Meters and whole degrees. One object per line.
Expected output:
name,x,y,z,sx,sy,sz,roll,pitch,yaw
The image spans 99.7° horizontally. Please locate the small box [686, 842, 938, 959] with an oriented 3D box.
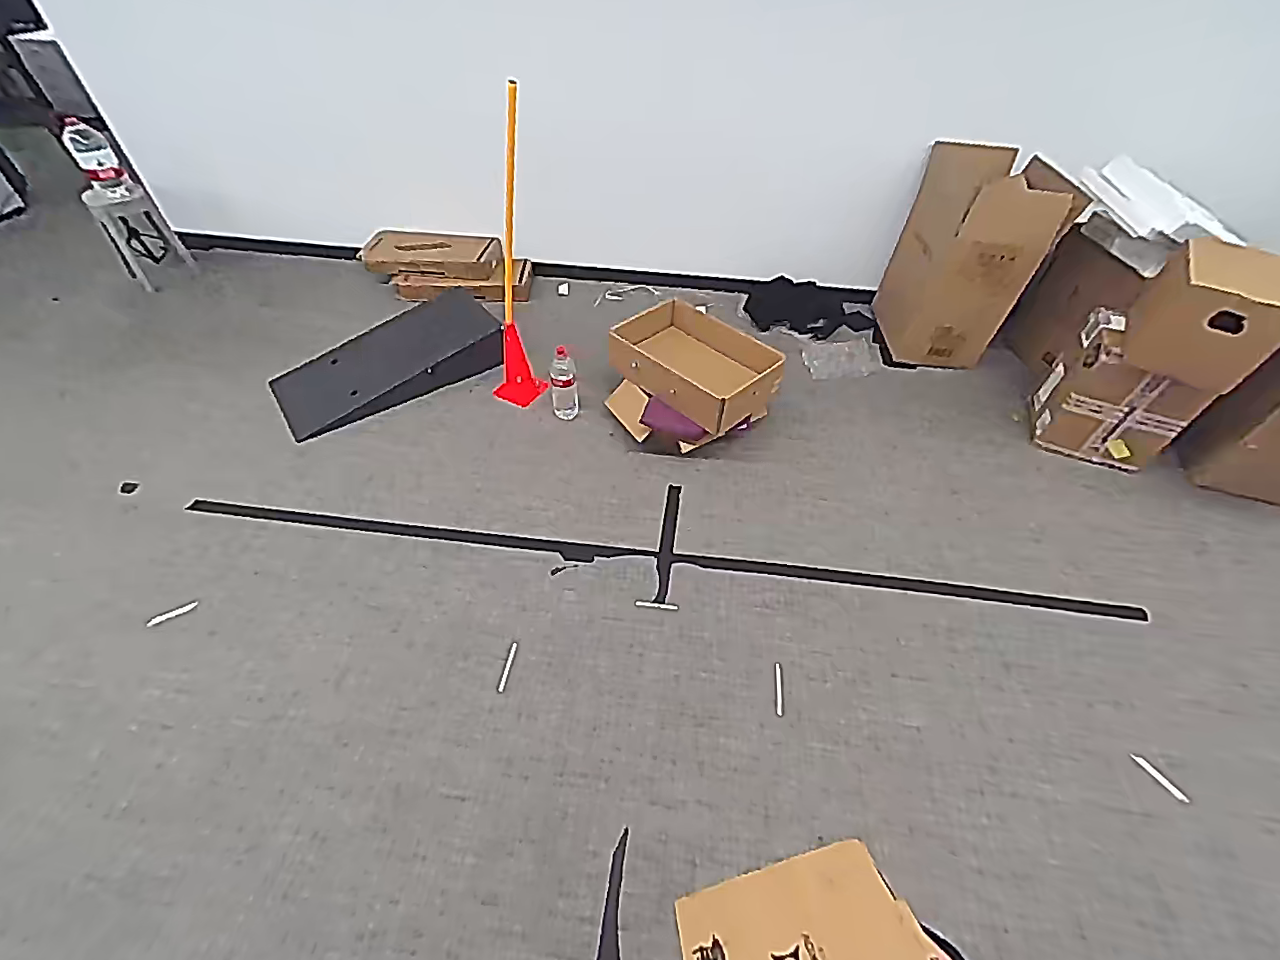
small box,0.150,0.437,0.417,0.179,0.176,0.168,-18,8,-1
